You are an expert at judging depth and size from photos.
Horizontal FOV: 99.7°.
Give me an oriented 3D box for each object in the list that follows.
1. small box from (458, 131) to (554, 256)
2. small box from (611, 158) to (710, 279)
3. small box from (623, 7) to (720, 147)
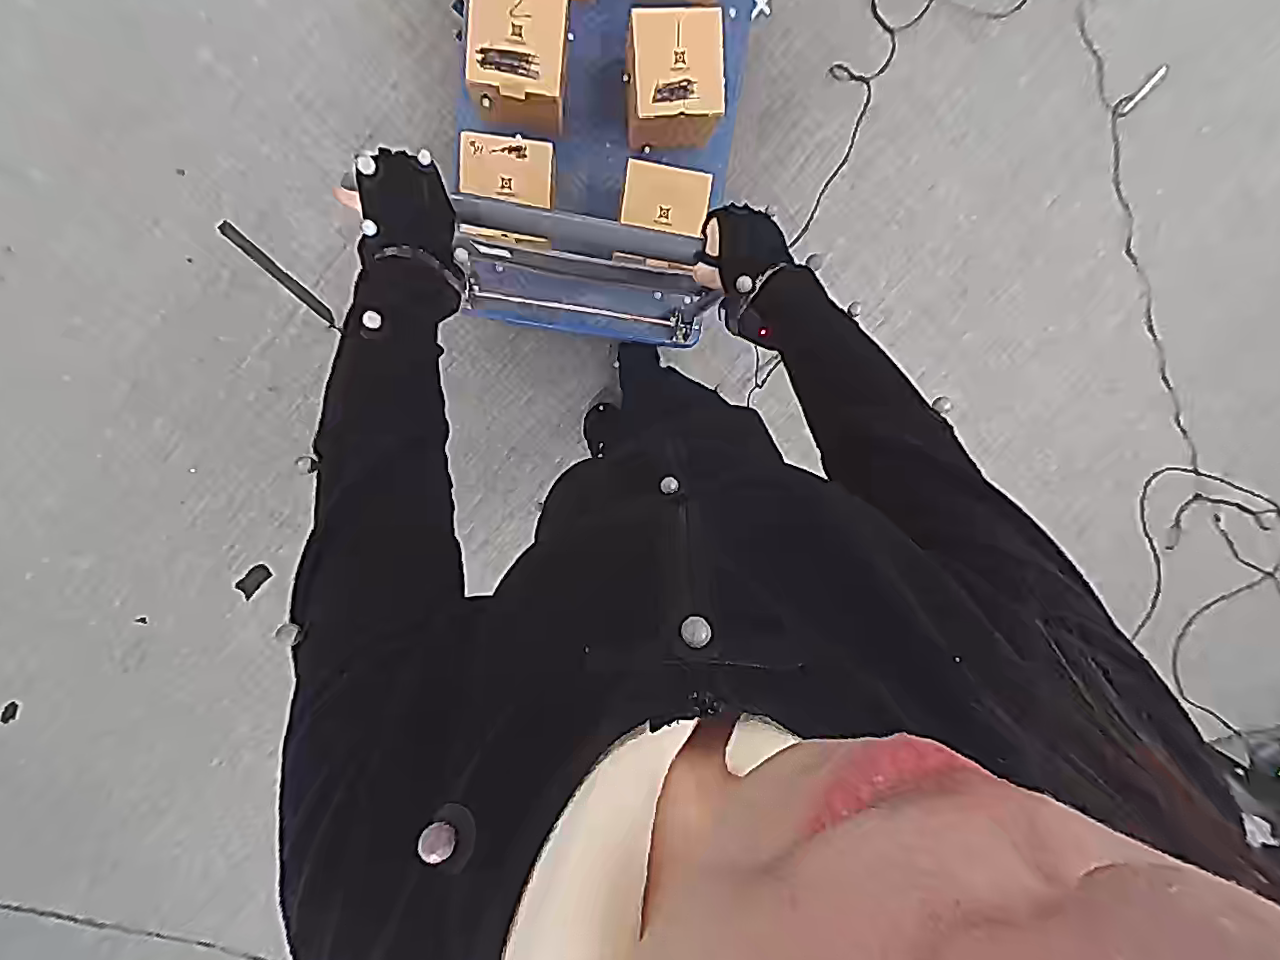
[{"bbox_3d":[-0.260,-0.555,1.075,0.168,0.176,0.179,3,102,-8],"label":"small box"},{"bbox_3d":[0.034,-0.527,1.117,0.168,0.176,0.179,7,100,-9],"label":"small box"},{"bbox_3d":[0.057,-0.778,1.064,0.168,0.176,0.179,-5,102,-6],"label":"small box"}]
